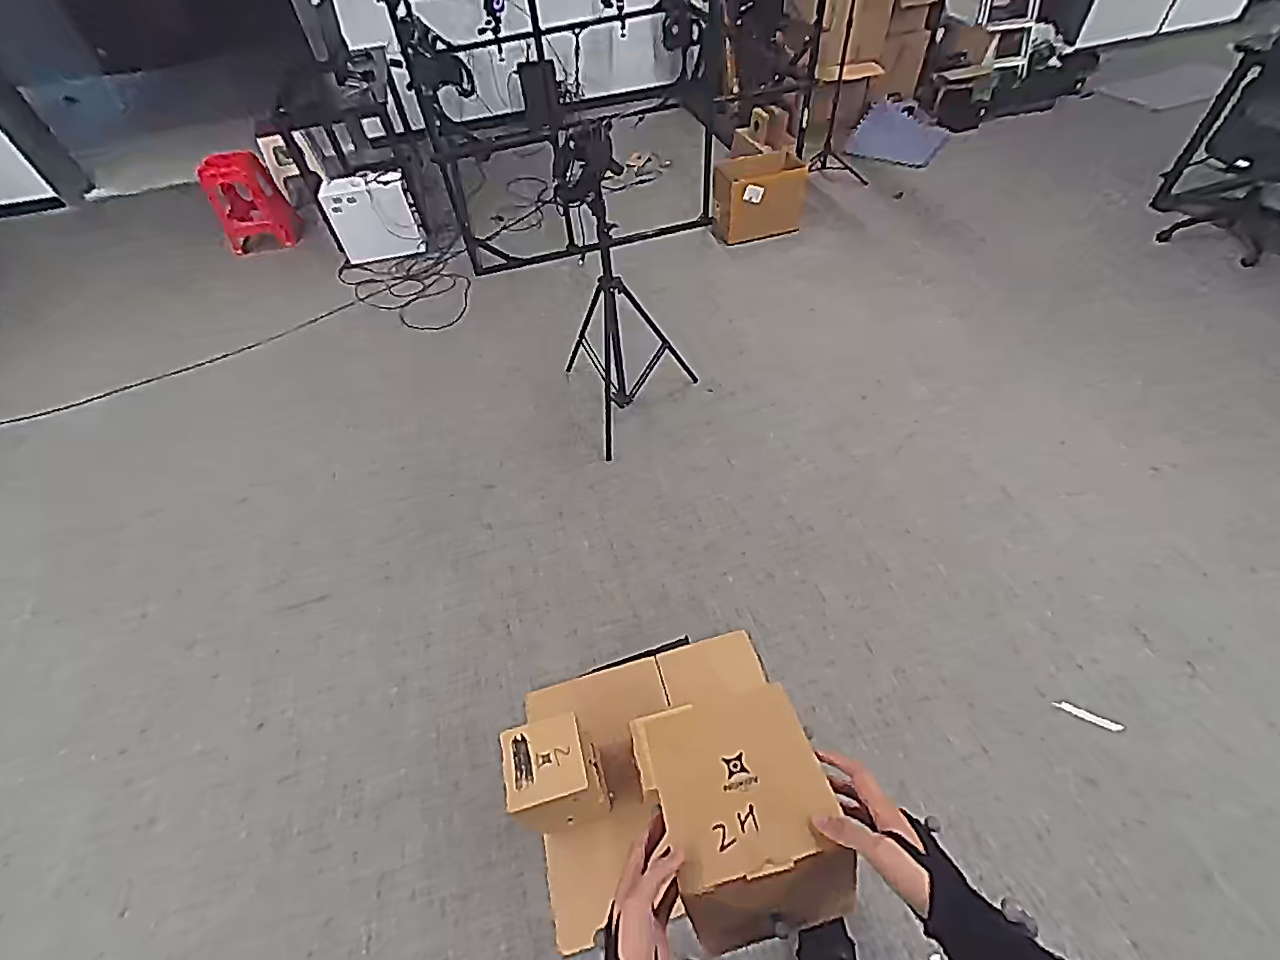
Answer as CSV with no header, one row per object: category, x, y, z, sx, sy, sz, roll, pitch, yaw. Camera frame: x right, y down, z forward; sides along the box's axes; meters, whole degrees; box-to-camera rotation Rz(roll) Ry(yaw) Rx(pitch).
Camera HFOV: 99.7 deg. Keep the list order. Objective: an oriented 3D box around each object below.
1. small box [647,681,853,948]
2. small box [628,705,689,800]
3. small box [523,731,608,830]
small box,0.114,0.362,0.596,0.168,0.176,0.179,-16,34,-2
small box,0.075,0.705,1.397,0.179,0.176,0.168,-13,52,-6
small box,-0.183,0.763,1.370,0.179,0.176,0.168,-15,51,-6
